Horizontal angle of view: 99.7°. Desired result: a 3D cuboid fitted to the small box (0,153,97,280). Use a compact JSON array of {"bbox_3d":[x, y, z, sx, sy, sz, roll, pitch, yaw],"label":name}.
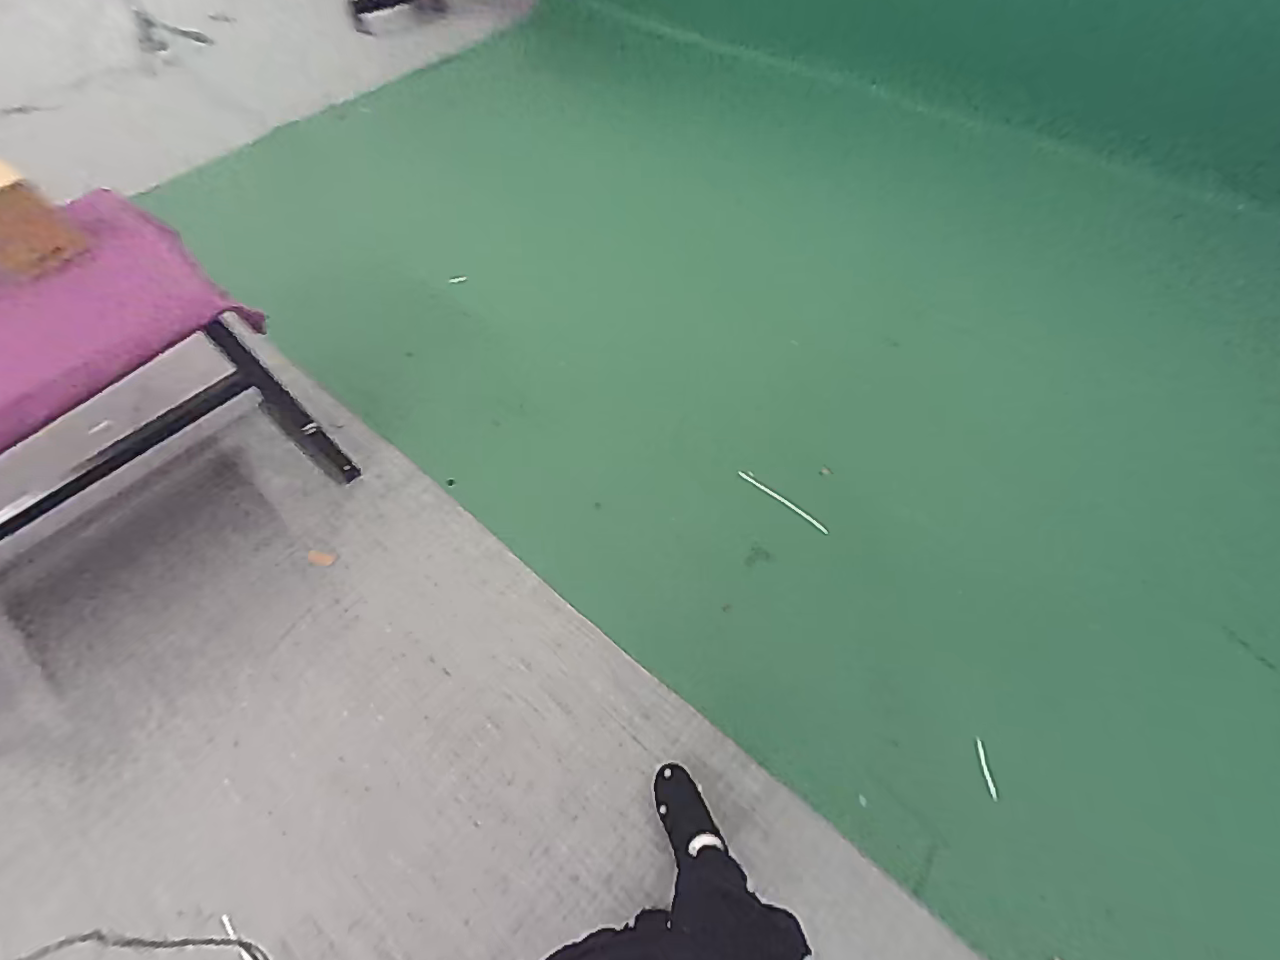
[{"bbox_3d":[-1.359,-0.566,1.167,0.179,0.176,0.168,33,67,18],"label":"small box"}]
